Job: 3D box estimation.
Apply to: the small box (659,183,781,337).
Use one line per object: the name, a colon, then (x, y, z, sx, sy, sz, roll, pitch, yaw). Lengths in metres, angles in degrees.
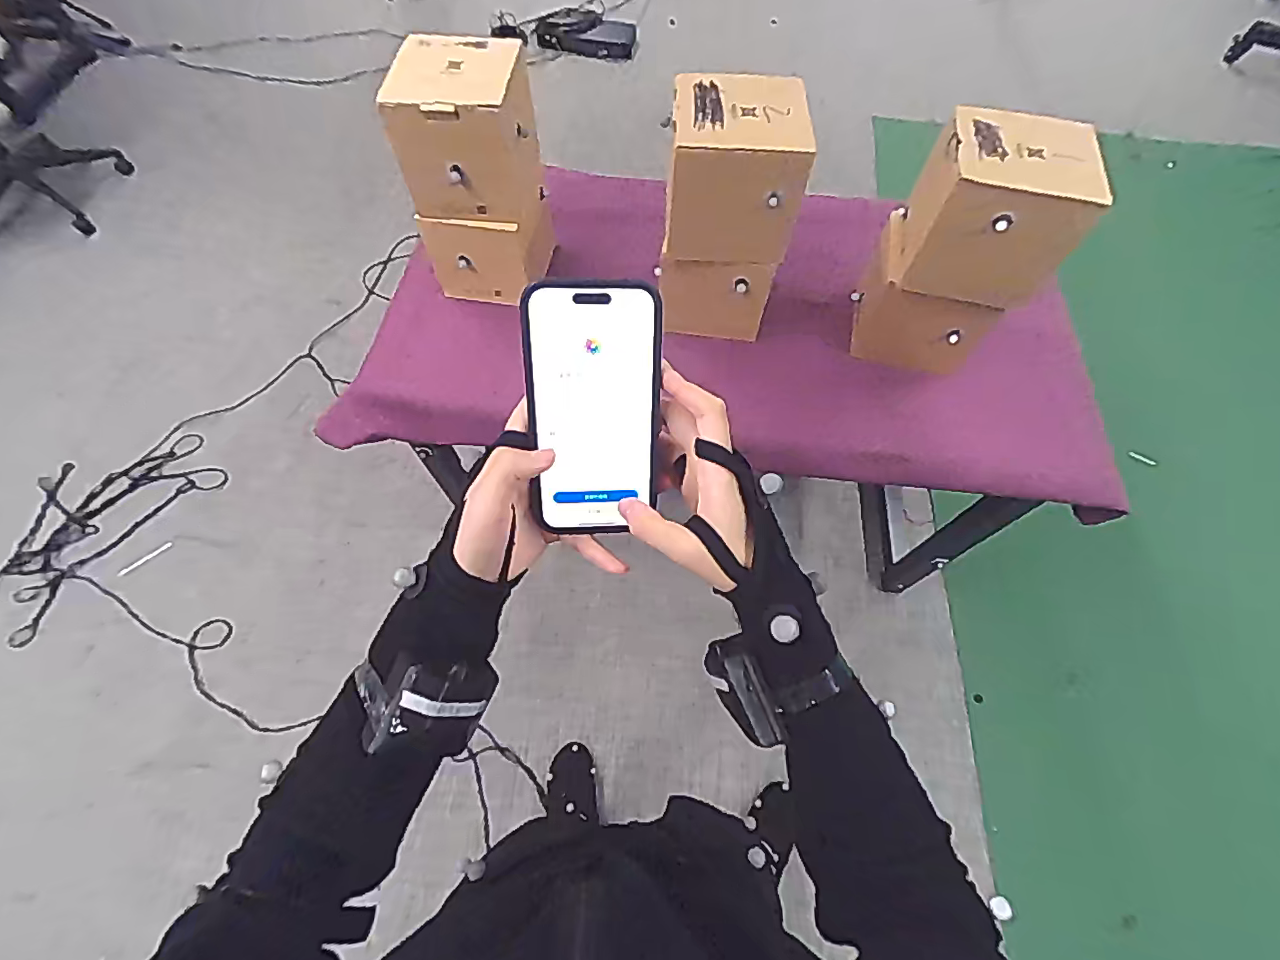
small box: (0.129, -0.362, 0.907, 0.179, 0.176, 0.168, 7, 62, 4)

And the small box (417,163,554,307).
small box: (-0.255, -0.427, 0.943, 0.168, 0.176, 0.179, 8, 62, 4)

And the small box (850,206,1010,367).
small box: (0.464, -0.307, 0.881, 0.179, 0.176, 0.168, 13, 62, 7)

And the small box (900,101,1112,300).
small box: (0.471, -0.369, 0.729, 0.179, 0.176, 0.168, 13, 62, 6)

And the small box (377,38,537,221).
small box: (-0.254, -0.511, 0.802, 0.168, 0.176, 0.179, 3, 63, 1)
